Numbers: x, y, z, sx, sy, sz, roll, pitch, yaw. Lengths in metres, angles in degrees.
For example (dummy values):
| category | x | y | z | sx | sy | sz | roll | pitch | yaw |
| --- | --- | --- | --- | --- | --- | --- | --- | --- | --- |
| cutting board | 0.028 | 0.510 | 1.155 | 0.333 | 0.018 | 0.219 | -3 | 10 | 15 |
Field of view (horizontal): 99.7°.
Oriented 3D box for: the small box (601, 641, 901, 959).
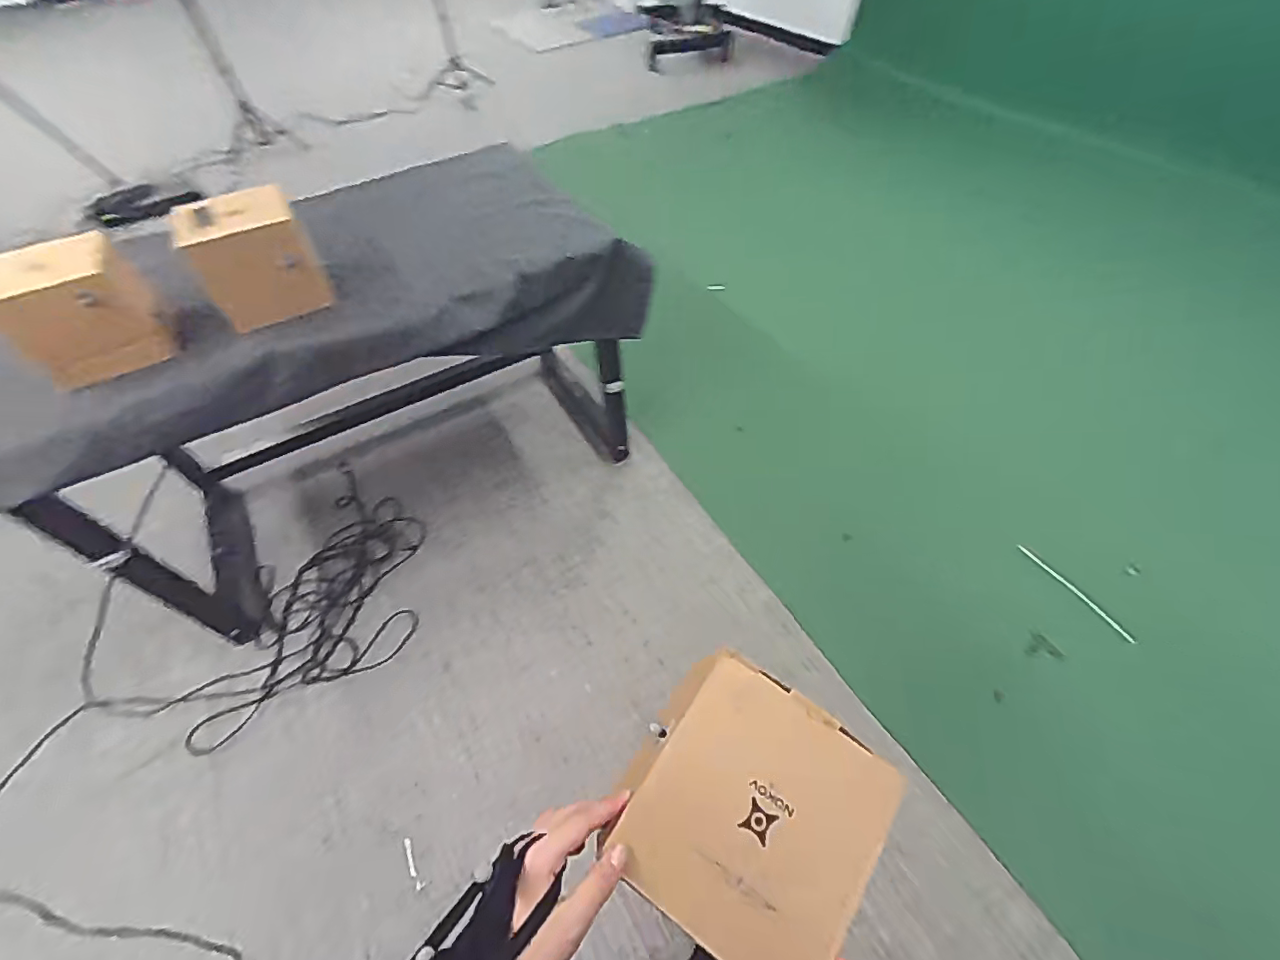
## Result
| category | x | y | z | sx | sy | sz | roll | pitch | yaw |
| --- | --- | --- | --- | --- | --- | --- | --- | --- | --- |
| small box | 0.078 | 0.266 | 0.461 | 0.168 | 0.176 | 0.179 | 33 | 68 | 11 |

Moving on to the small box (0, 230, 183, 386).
| category | x | y | z | sx | sy | sz | roll | pitch | yaw |
| --- | --- | --- | --- | --- | --- | --- | --- | --- | --- |
| small box | -0.928 | -0.287 | 0.915 | 0.179 | 0.176 | 0.168 | -26 | 55 | -17 |
